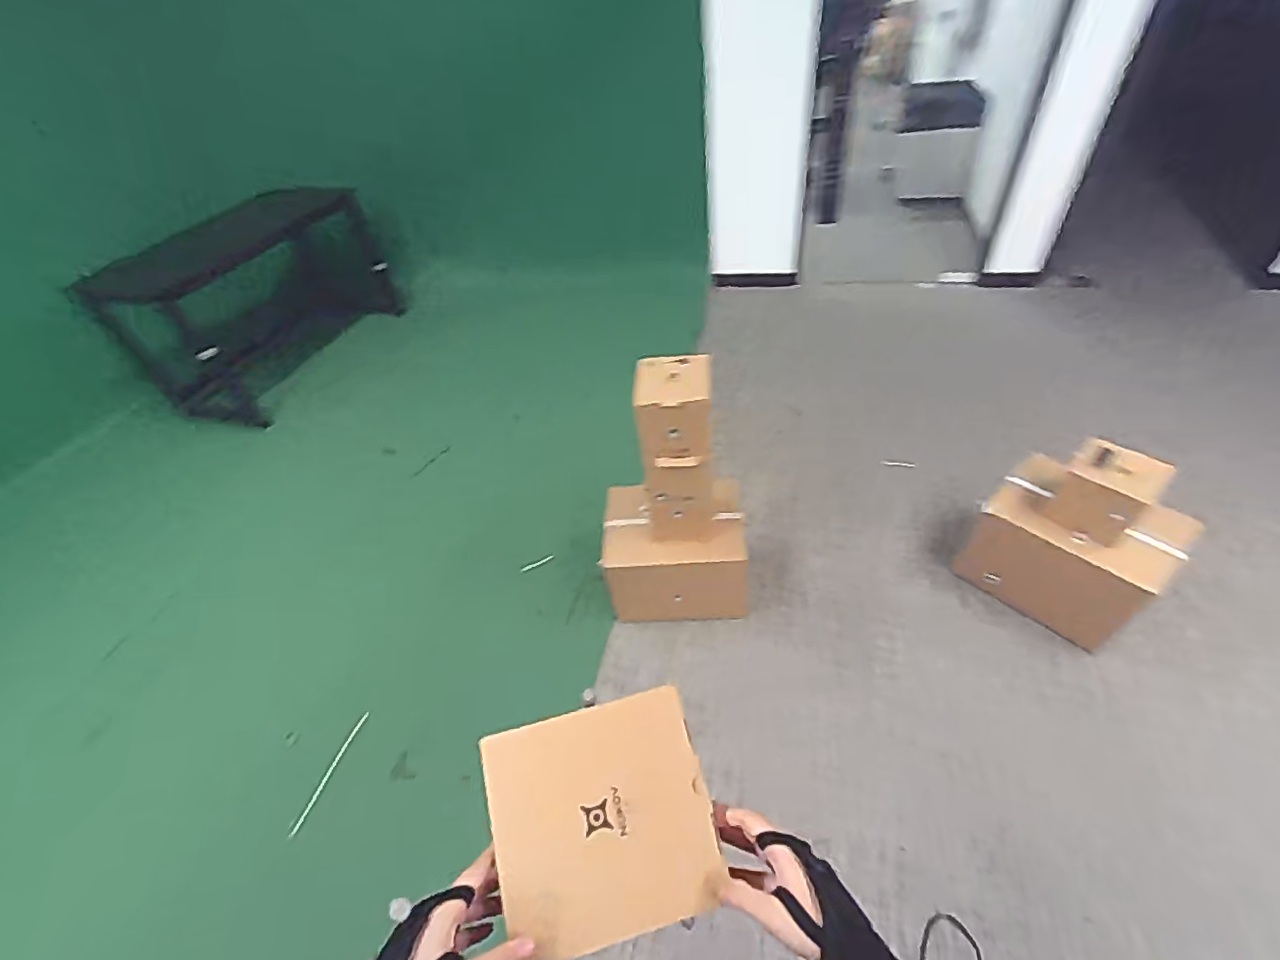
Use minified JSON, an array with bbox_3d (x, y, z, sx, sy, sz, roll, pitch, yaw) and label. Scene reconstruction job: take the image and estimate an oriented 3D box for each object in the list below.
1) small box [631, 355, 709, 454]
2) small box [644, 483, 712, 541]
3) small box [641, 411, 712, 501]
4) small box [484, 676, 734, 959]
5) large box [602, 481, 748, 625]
[{"bbox_3d":[0.078,-0.175,1.288,0.168,0.176,0.179,-2,47,8],"label":"small box"},{"bbox_3d":[0.111,0.059,1.516,0.179,0.176,0.168,-2,47,7],"label":"small box"},{"bbox_3d":[0.102,-0.059,1.402,0.168,0.176,0.179,-1,46,9],"label":"small box"},{"bbox_3d":[-0.032,0.297,0.508,0.179,0.176,0.168,-13,66,-8],"label":"small box"},{"bbox_3d":[0.113,0.233,1.691,0.408,0.320,0.320,-5,44,6],"label":"large box"}]
